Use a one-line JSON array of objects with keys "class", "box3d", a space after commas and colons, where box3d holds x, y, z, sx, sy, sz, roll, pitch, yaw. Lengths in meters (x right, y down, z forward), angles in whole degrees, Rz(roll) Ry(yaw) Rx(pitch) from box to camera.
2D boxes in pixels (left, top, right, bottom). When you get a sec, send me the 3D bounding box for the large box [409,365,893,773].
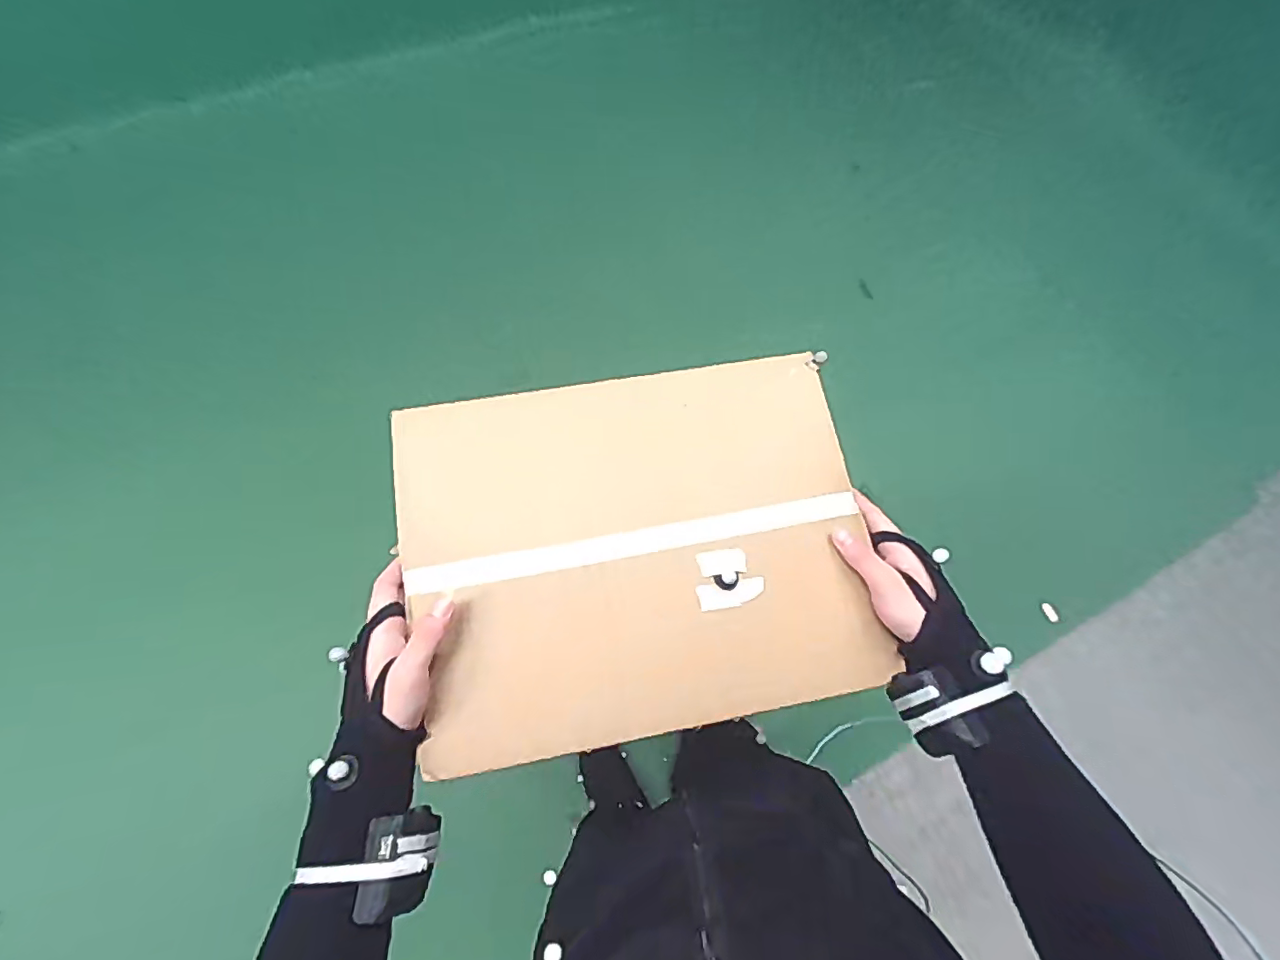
[{"class": "large box", "box3d": [-0.008, 0.100, 0.634, 0.408, 0.320, 0.320, -9, 76, -7]}]
